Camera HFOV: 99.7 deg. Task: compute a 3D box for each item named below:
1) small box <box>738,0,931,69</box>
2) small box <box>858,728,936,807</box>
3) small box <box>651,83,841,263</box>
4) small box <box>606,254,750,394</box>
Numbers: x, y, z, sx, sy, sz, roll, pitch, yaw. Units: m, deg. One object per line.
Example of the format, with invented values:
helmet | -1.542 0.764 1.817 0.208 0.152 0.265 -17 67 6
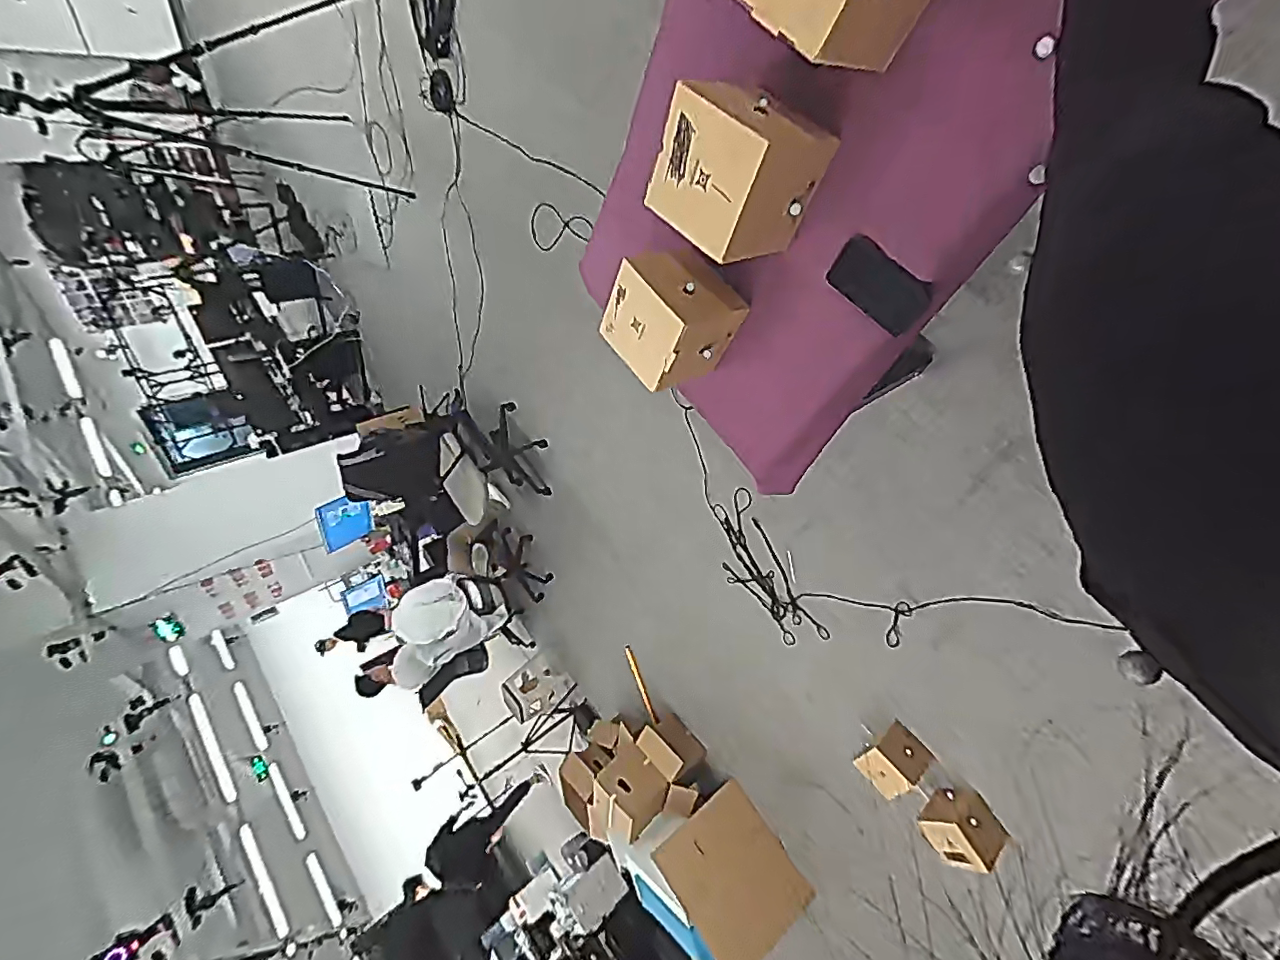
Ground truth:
small box | 0.235 -0.586 0.588 0.168 0.176 0.179 53 144 15
small box | 0.941 1.042 1.968 0.168 0.176 0.179 45 142 25
small box | 0.150 -0.445 0.789 0.179 0.176 0.168 48 143 21
small box | 0.069 -0.292 0.994 0.179 0.176 0.168 52 144 17
